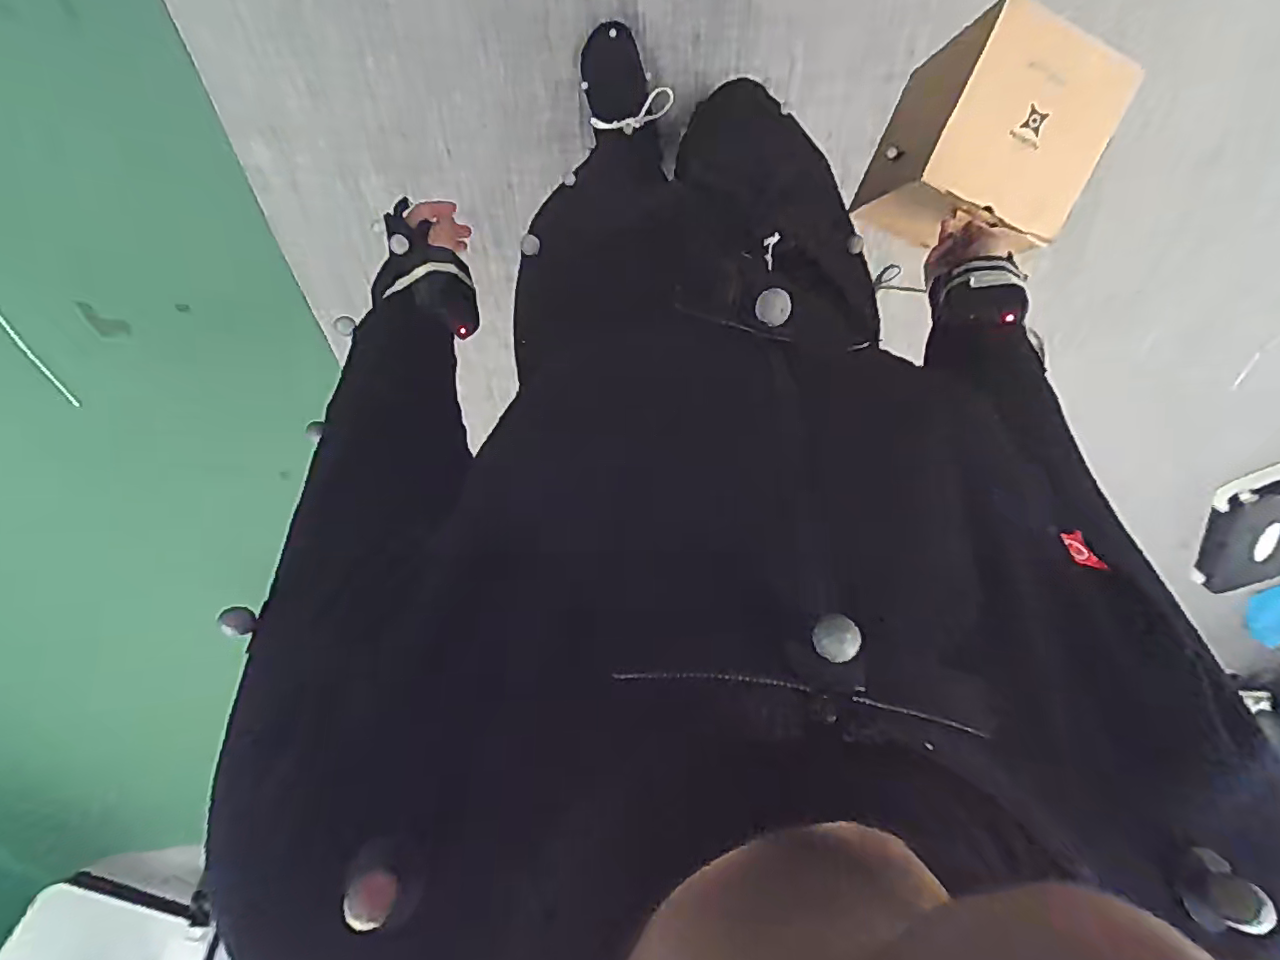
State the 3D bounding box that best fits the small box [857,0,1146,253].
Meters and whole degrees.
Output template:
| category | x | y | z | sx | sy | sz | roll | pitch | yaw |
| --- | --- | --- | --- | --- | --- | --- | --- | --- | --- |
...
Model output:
| category | x | y | z | sx | sy | sz | roll | pitch | yaw |
| --- | --- | --- | --- | --- | --- | --- | --- | --- | --- |
| small box | 0.370 | -0.371 | 0.594 | 0.168 | 0.176 | 0.179 | 19 | 102 | -10 |
